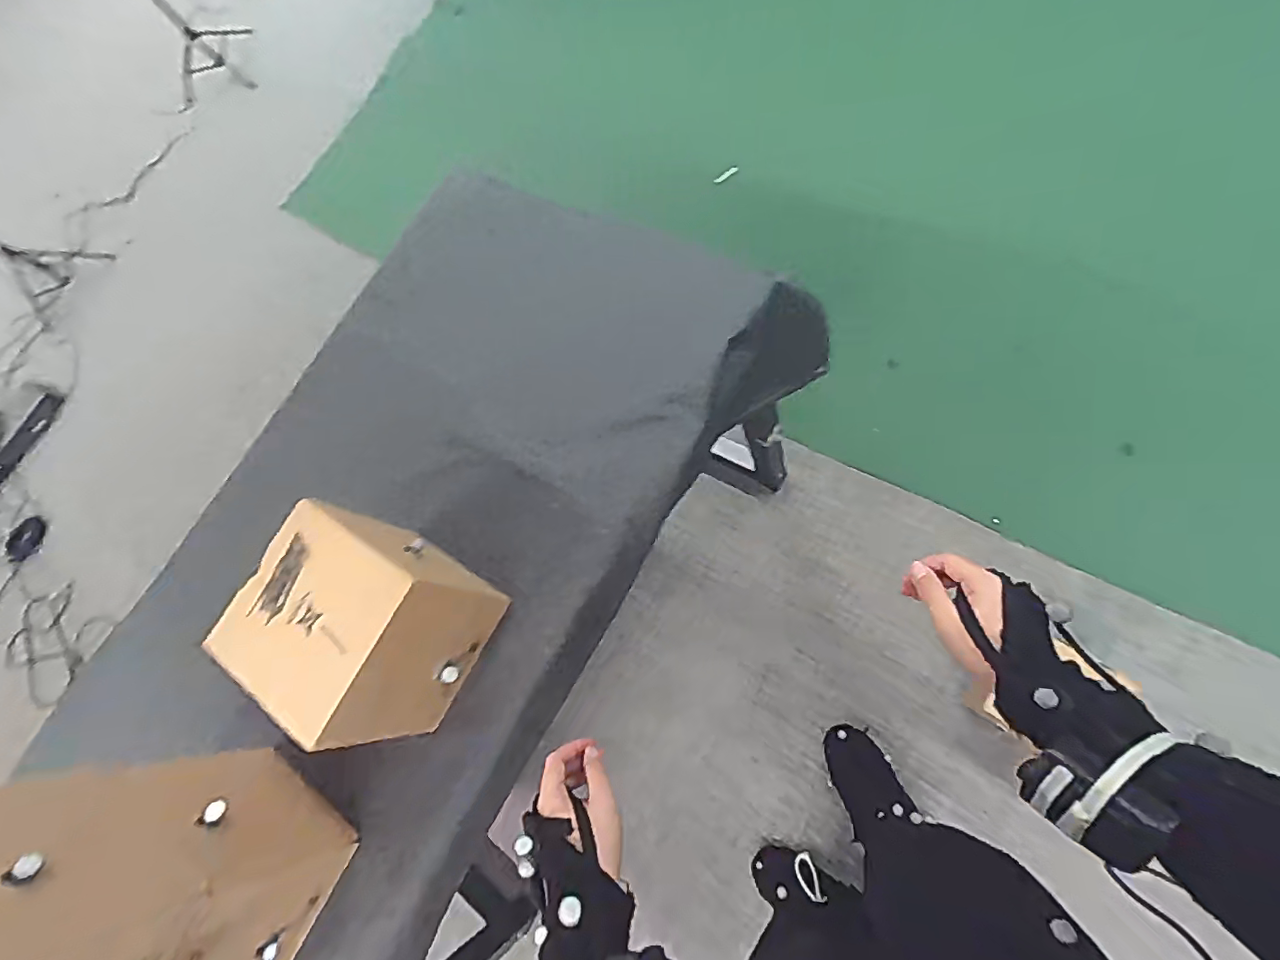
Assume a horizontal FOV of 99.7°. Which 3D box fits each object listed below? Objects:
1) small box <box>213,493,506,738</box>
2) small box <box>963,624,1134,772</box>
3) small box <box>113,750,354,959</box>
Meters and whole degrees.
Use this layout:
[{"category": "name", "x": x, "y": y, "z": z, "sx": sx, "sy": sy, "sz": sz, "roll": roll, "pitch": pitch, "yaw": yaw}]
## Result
[{"category": "small box", "x": -0.281, "y": 0.141, "z": 0.571, "sx": 0.179, "sy": 0.176, "sz": 0.168, "roll": 27, "pitch": 82, "yaw": 24}, {"category": "small box", "x": 0.720, "y": 0.384, "z": 0.979, "sx": 0.168, "sy": 0.176, "sz": 0.179, "roll": 33, "pitch": 86, "yaw": 25}, {"category": "small box", "x": -0.437, "y": 0.394, "z": 0.538, "sx": 0.179, "sy": 0.176, "sz": 0.168, "roll": 25, "pitch": 80, "yaw": 23}]
